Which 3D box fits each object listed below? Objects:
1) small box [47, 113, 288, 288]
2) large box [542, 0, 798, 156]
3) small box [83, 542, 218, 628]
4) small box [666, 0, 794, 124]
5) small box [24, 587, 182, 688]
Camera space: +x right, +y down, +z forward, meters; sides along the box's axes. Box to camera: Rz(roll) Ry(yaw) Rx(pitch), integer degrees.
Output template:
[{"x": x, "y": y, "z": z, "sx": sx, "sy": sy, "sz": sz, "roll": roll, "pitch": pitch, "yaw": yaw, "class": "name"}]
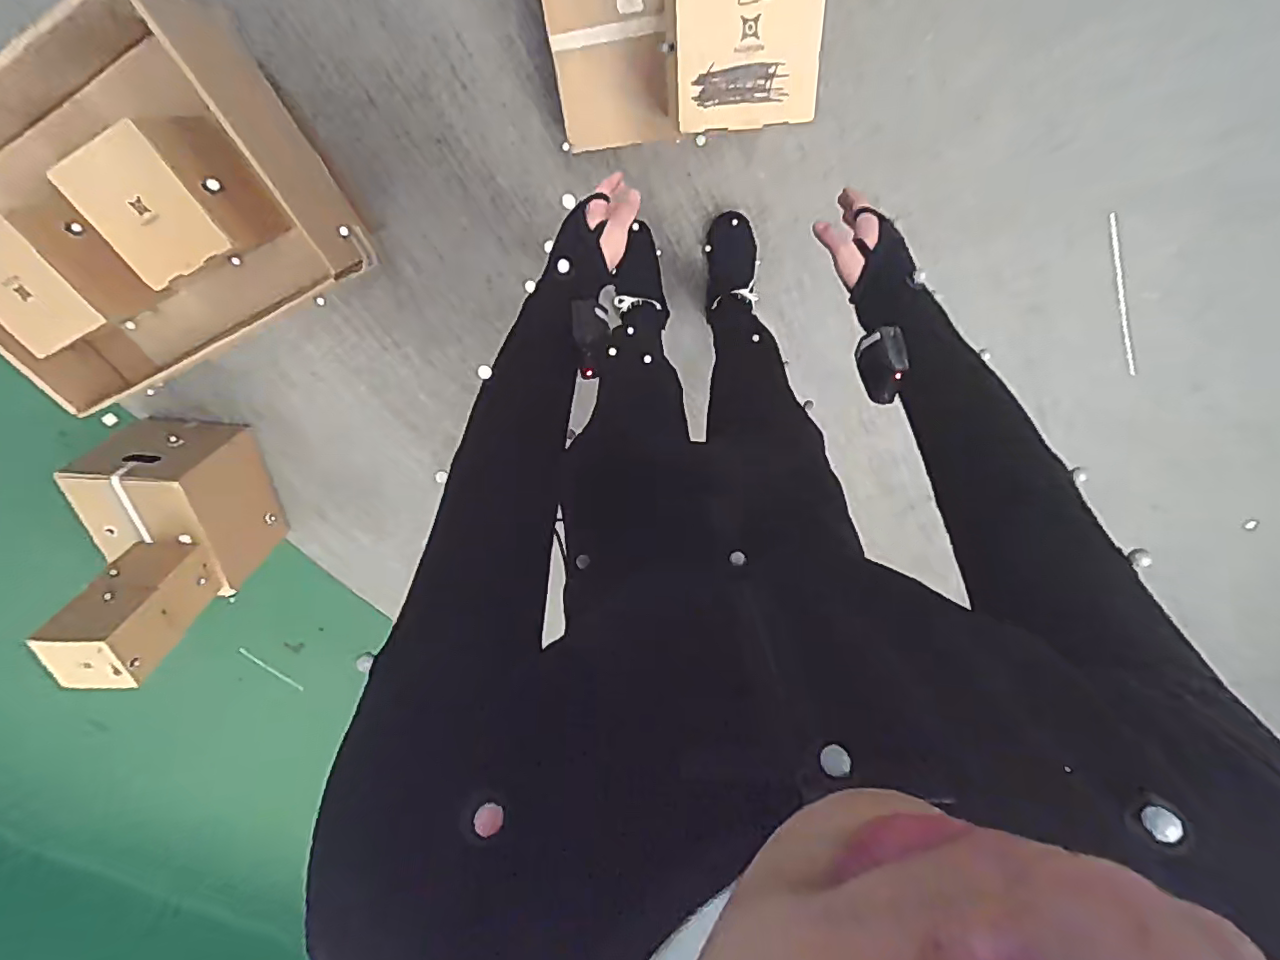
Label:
[{"x": -0.697, "y": -0.426, "z": 0.823, "sx": 0.168, "sy": 0.176, "sz": 0.179, "roll": -20, "pitch": 123, "yaw": 13, "class": "small box"}, {"x": 0.055, "y": -0.813, "z": 0.985, "sx": 0.408, "sy": 0.320, "sz": 0.320, "roll": -6, "pitch": 124, "yaw": 5, "class": "large box"}, {"x": -1.276, "y": 0.279, "z": 1.425, "sx": 0.179, "sy": 0.176, "sz": 0.168, "roll": 2, "pitch": 124, "yaw": -3, "class": "small box"}, {"x": 0.125, "y": -0.643, "z": 0.803, "sx": 0.168, "sy": 0.176, "sz": 0.179, "roll": -3, "pitch": 125, "yaw": 2, "class": "small box"}, {"x": -1.264, "y": 0.371, "z": 1.290, "sx": 0.179, "sy": 0.176, "sz": 0.168, "roll": 2, "pitch": 124, "yaw": -2, "class": "small box"}]
